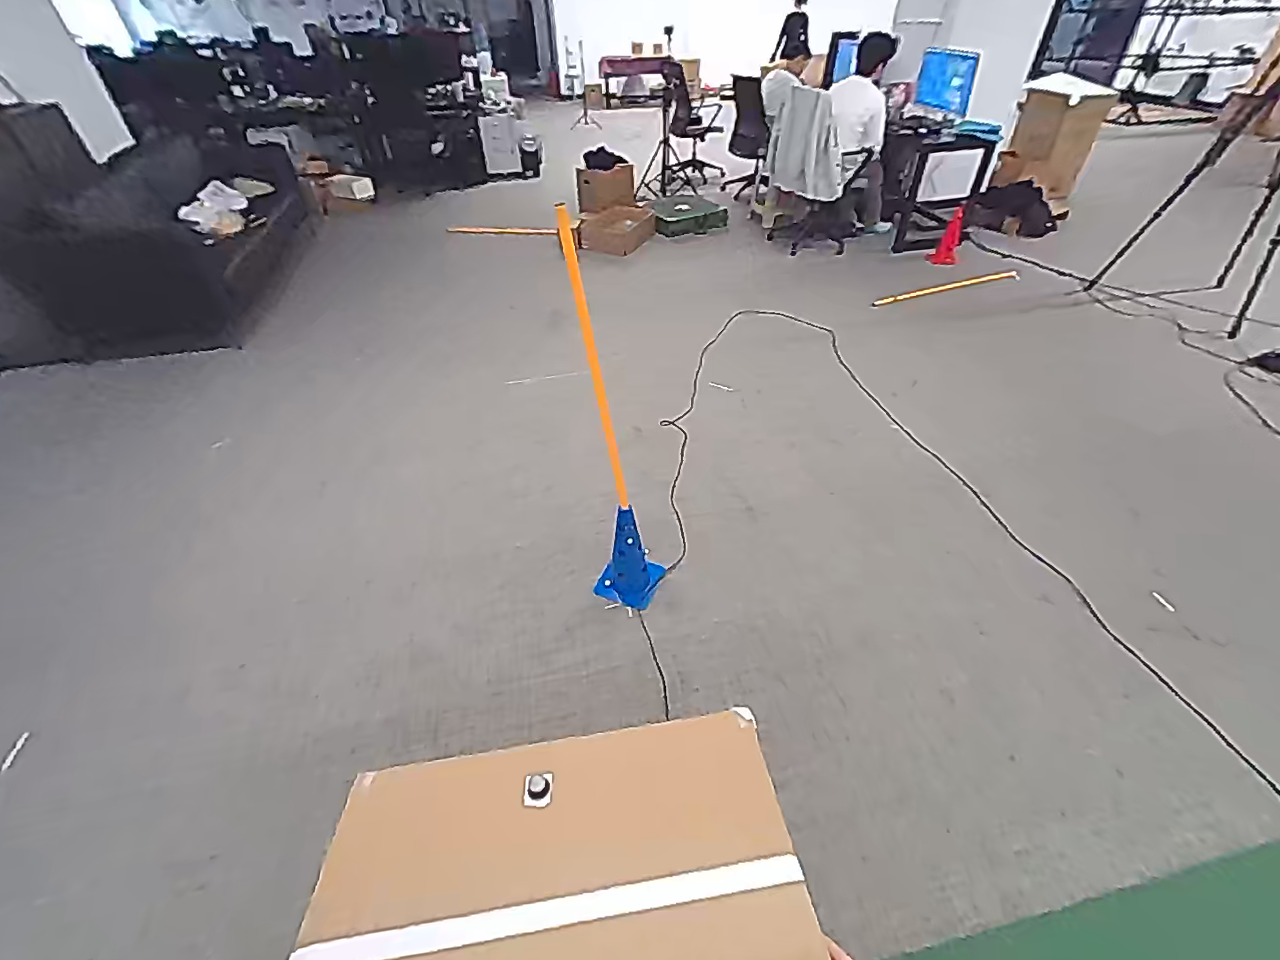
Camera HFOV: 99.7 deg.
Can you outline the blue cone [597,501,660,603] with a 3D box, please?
[{"bbox_3d":[-0.044,0.213,1.748,0.192,0.380,0.193,13,45,17],"label":"blue cone"}]
